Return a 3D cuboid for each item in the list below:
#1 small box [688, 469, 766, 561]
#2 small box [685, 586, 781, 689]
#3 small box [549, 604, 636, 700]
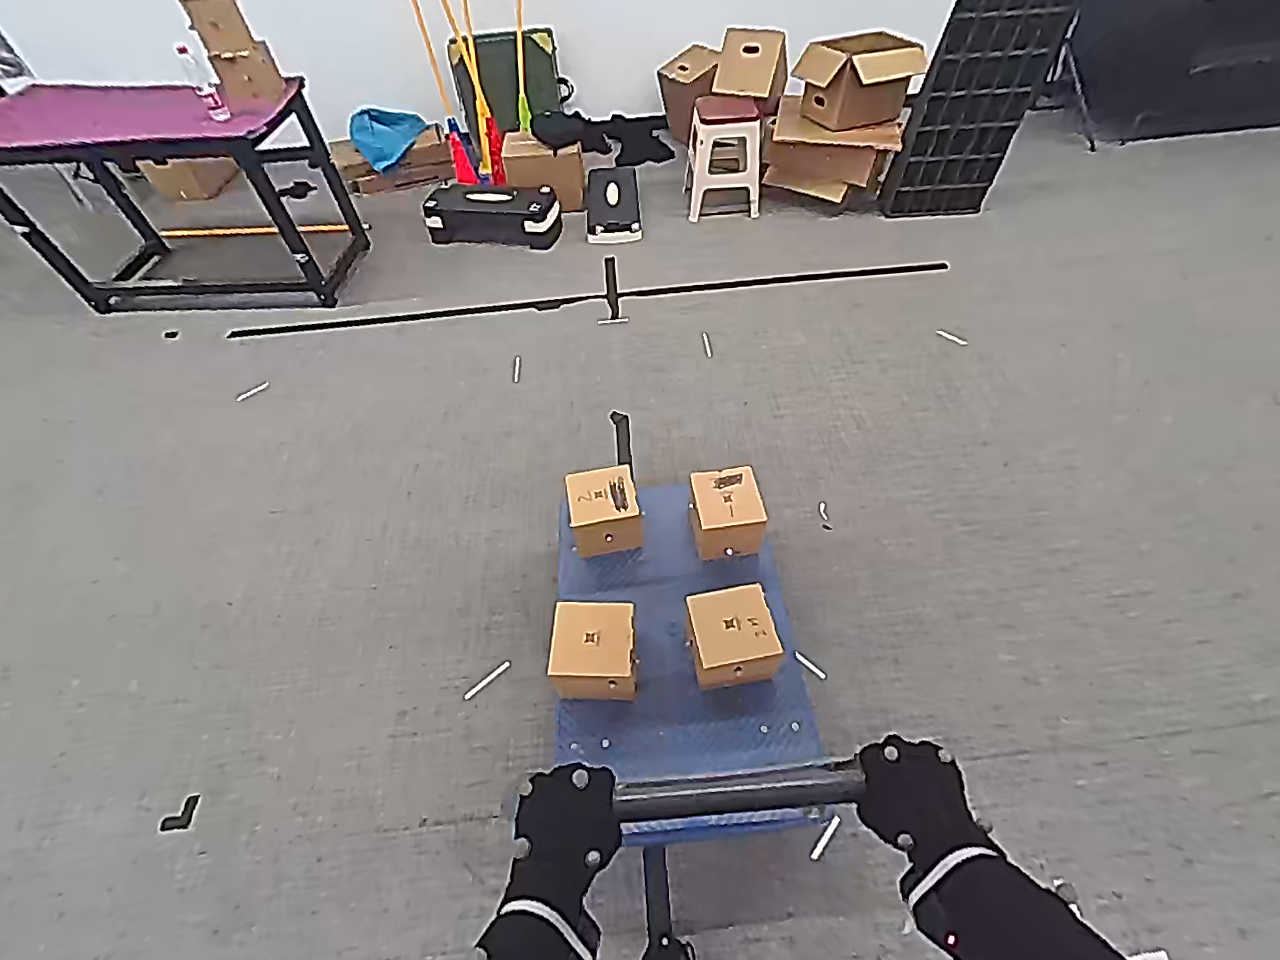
[{"bbox_3d":[0.224,0.095,1.442,0.168,0.176,0.179,-8,54,-2],"label":"small box"},{"bbox_3d":[0.205,0.366,1.241,0.179,0.176,0.168,-10,54,-4],"label":"small box"},{"bbox_3d":[-0.101,0.395,1.235,0.179,0.176,0.168,1,53,2],"label":"small box"}]
